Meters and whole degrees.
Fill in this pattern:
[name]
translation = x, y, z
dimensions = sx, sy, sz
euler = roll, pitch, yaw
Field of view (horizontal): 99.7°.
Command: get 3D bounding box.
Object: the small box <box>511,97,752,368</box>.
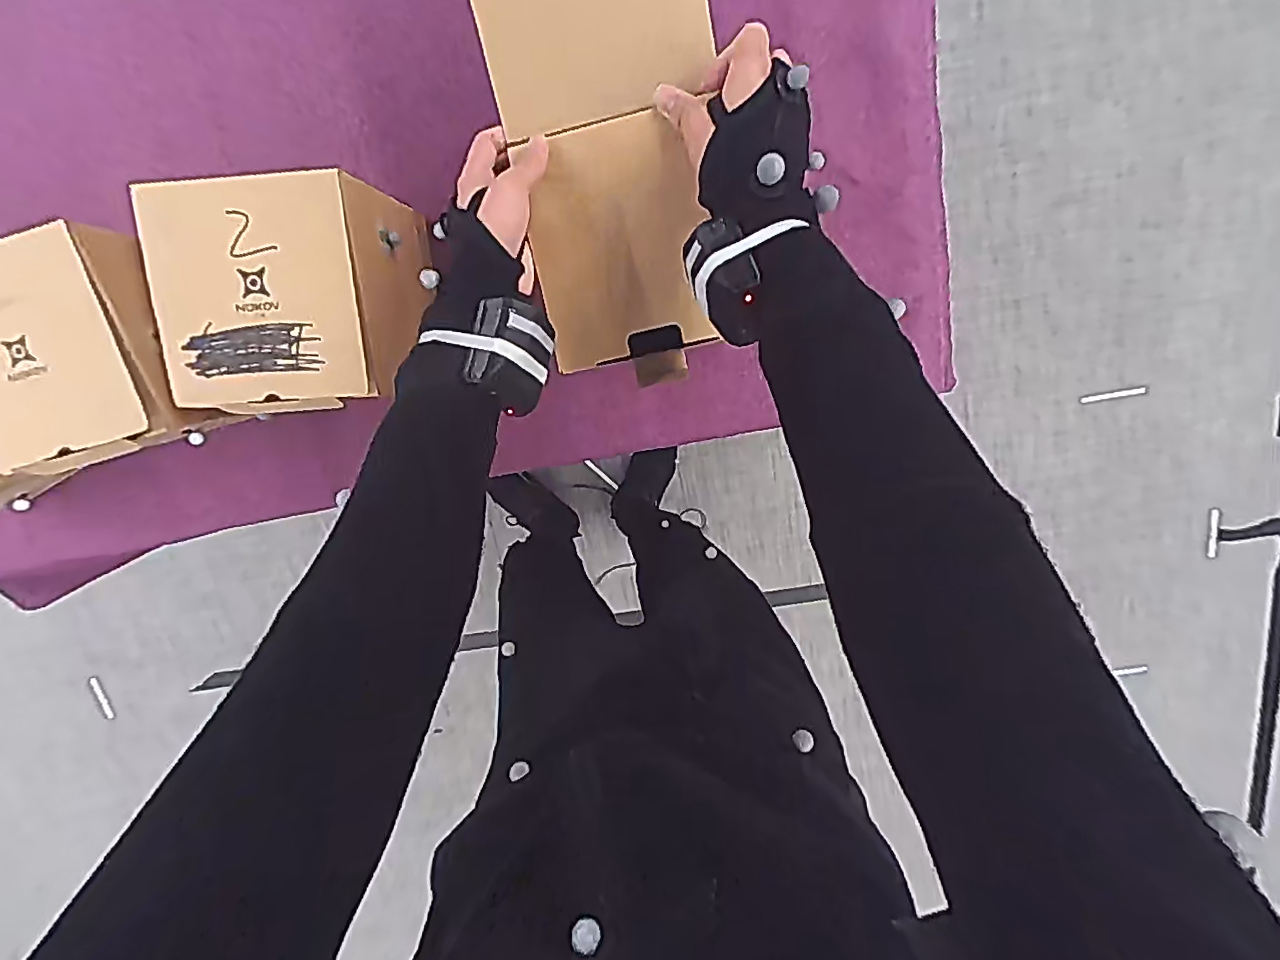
[small box]
translation = -0.003, -0.206, 0.499
dimensions = 0.168, 0.176, 0.179
euler = -10, 104, 4
